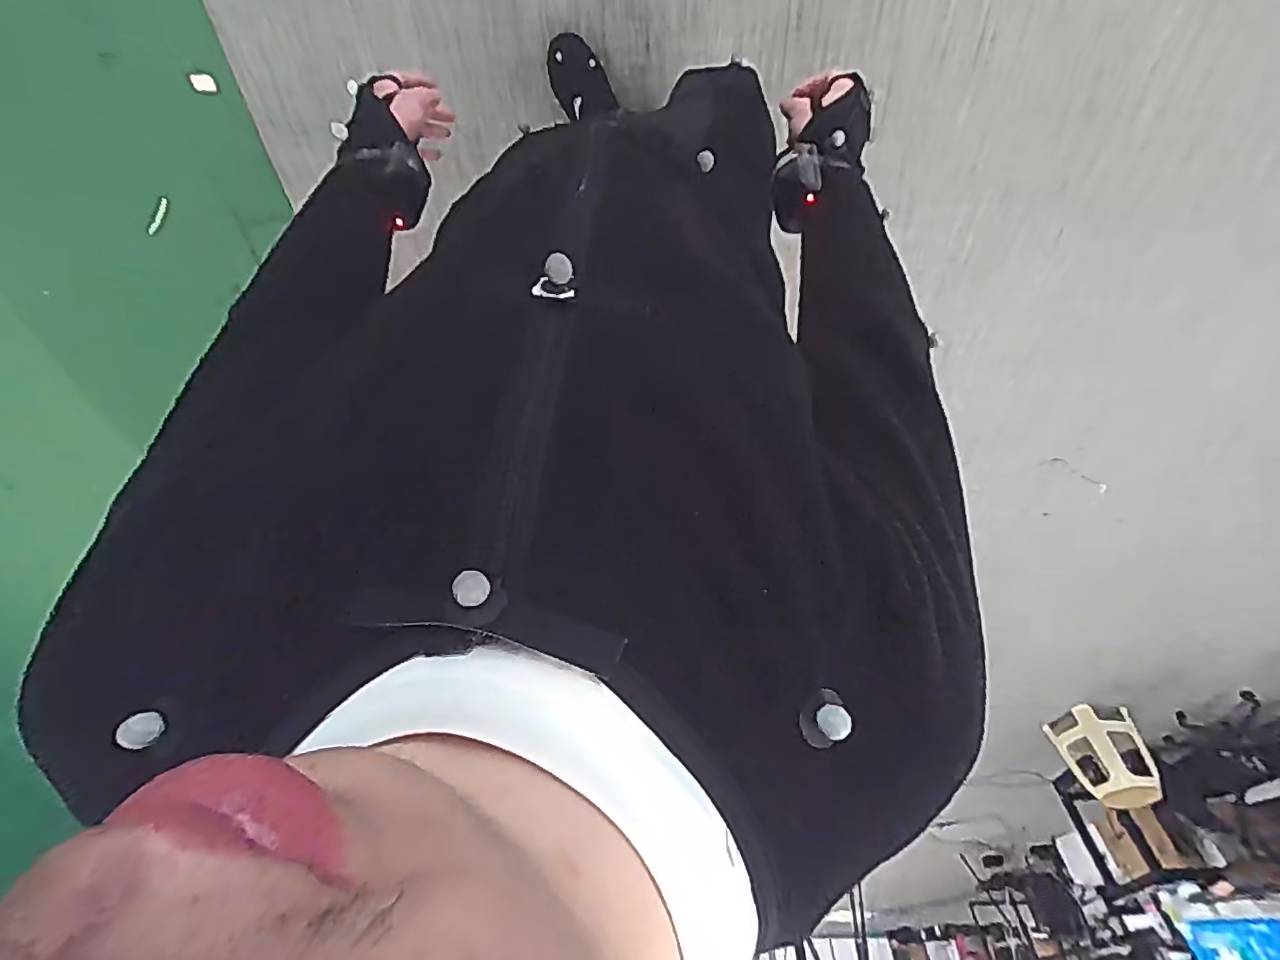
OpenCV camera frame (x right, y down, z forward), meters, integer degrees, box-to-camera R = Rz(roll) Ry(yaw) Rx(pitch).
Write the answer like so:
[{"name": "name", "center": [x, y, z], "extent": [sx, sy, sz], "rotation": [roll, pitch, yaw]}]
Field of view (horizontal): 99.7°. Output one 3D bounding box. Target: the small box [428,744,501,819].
[{"name": "small box", "center": [-0.560, 0.972, 1.750], "extent": [0.168, 0.176, 0.179], "rotation": [-3, 131, 2]}]
